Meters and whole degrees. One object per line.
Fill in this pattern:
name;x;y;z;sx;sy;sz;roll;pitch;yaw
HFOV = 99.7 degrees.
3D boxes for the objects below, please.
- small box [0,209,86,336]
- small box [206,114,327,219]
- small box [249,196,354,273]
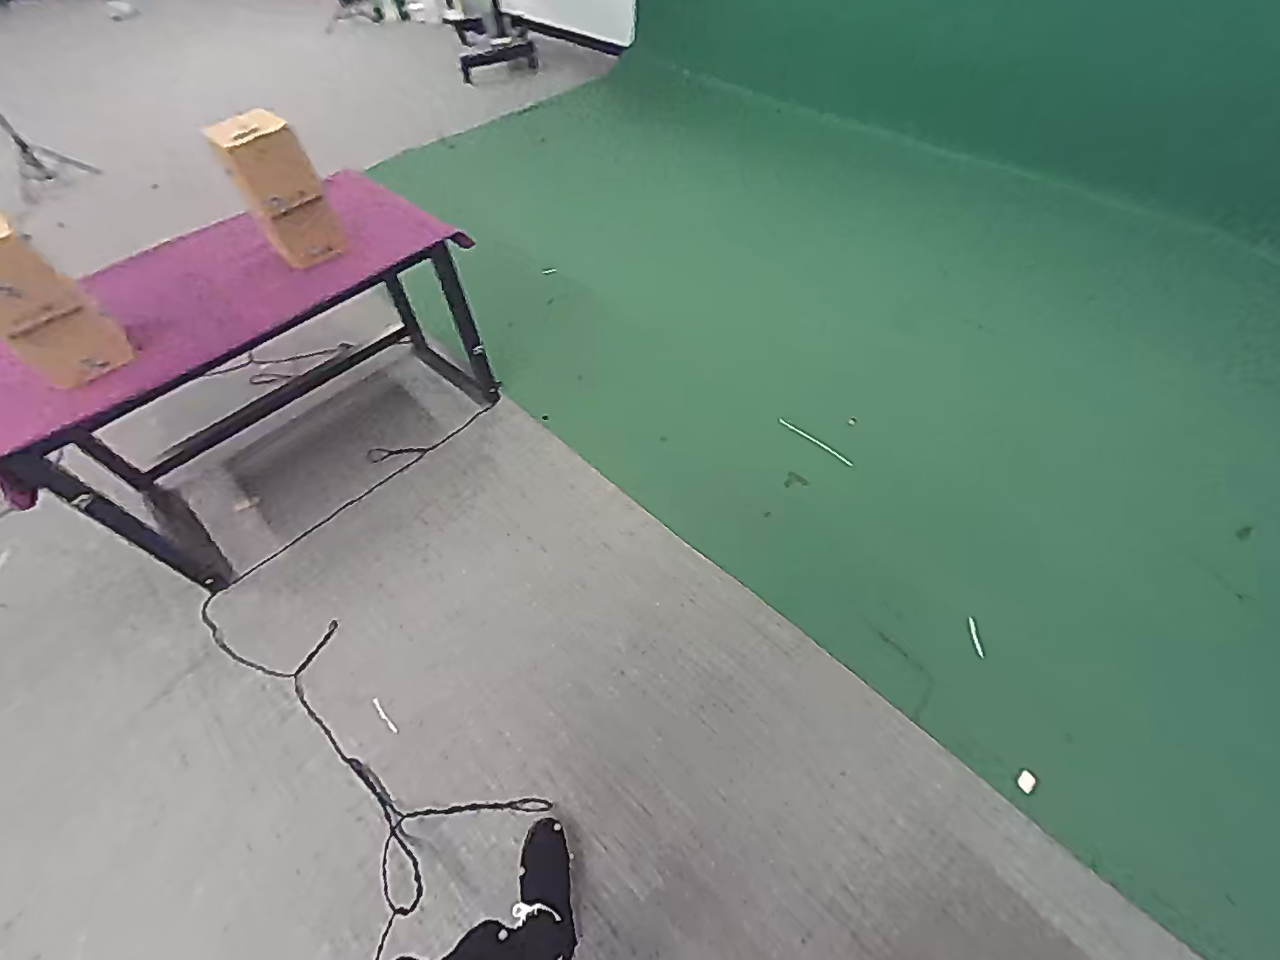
small box;-1.336;-0.429;1.135;0.179;0.176;0.168;37;63;25
small box;-0.953;-0.803;1.394;0.179;0.176;0.168;36;64;27
small box;-0.958;-0.718;1.535;0.168;0.176;0.179;-39;61;-22
